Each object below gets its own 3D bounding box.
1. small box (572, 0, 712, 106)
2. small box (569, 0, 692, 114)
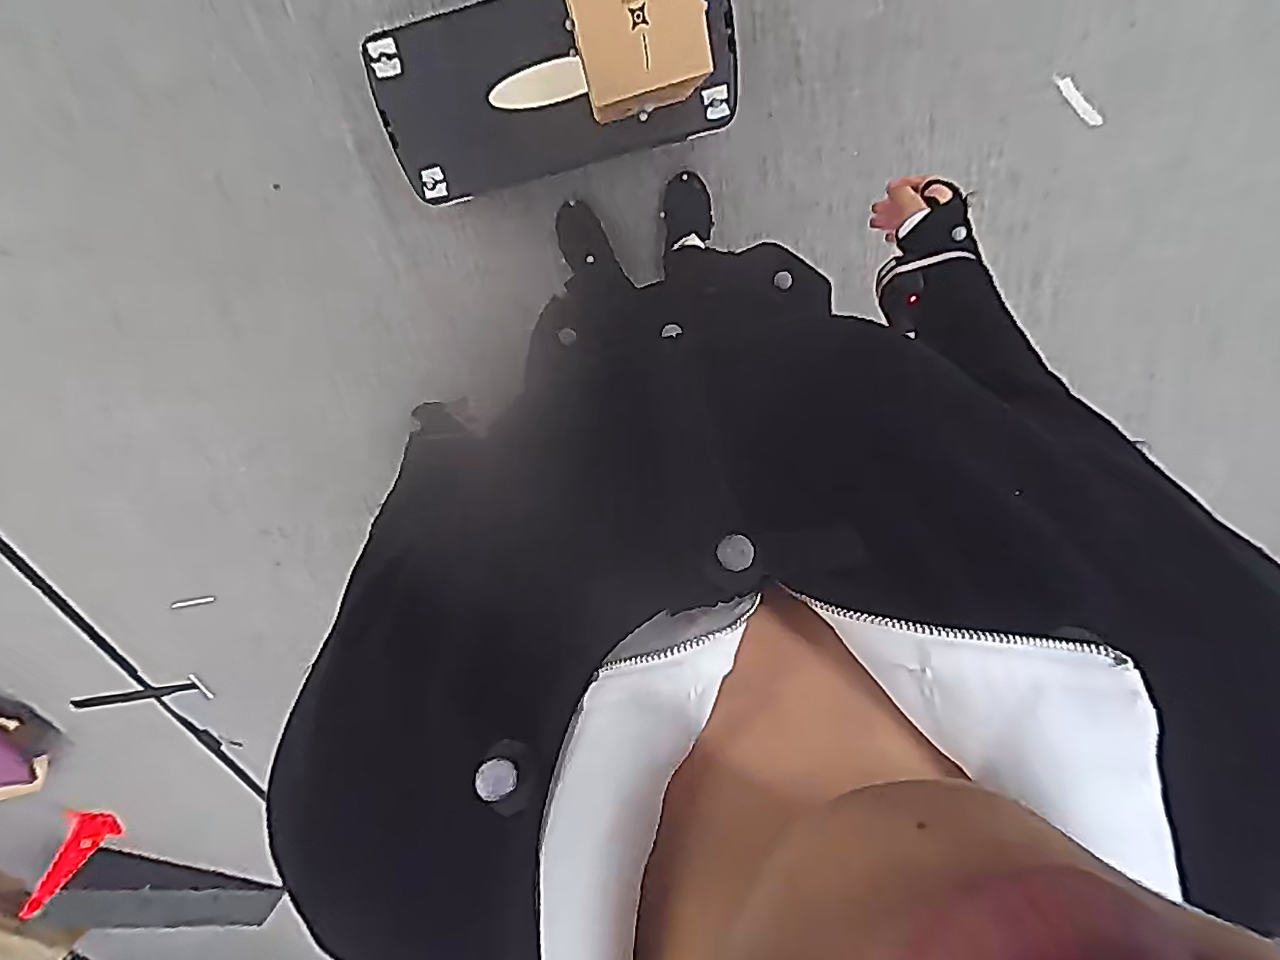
[{"bbox_3d":[-0.005,-0.646,0.750,0.168,0.176,0.179,-13,122,7],"label":"small box"},{"bbox_3d":[-0.017,-0.727,0.893,0.168,0.176,0.179,-12,121,7],"label":"small box"}]
